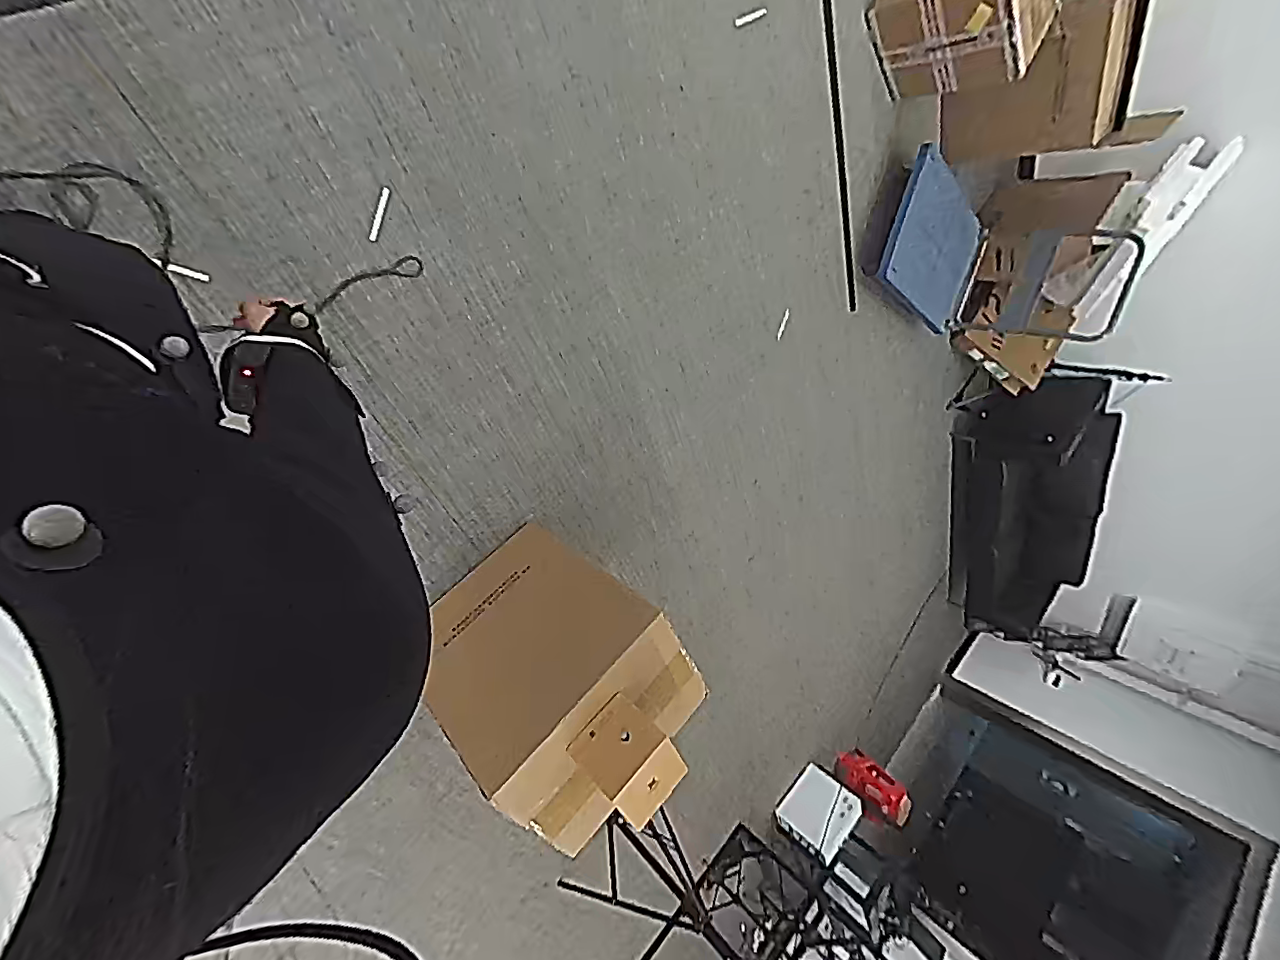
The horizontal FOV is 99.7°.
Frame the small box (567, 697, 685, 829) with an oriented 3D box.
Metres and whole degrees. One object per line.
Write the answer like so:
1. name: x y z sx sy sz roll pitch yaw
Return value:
1. small box: -0.033 0.611 1.191 0.168 0.176 0.179 -42 132 -24
